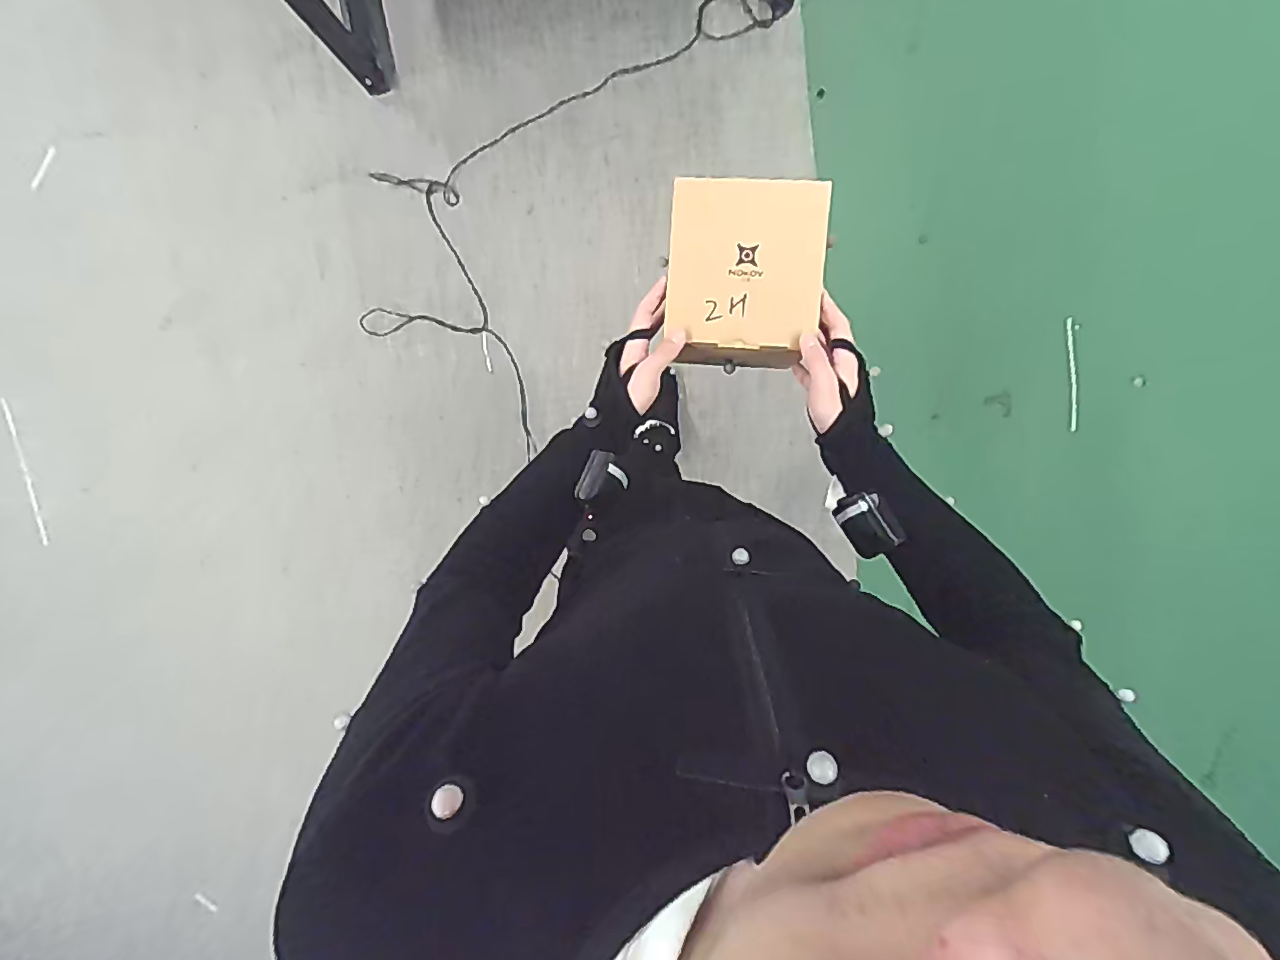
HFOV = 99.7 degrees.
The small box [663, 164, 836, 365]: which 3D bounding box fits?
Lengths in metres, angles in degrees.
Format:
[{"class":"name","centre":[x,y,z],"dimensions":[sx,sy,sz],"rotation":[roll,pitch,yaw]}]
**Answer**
[{"class":"small box","centre":[0.118,-0.241,0.641],"dimensions":[0.168,0.176,0.179],"rotation":[5,95,5]}]
